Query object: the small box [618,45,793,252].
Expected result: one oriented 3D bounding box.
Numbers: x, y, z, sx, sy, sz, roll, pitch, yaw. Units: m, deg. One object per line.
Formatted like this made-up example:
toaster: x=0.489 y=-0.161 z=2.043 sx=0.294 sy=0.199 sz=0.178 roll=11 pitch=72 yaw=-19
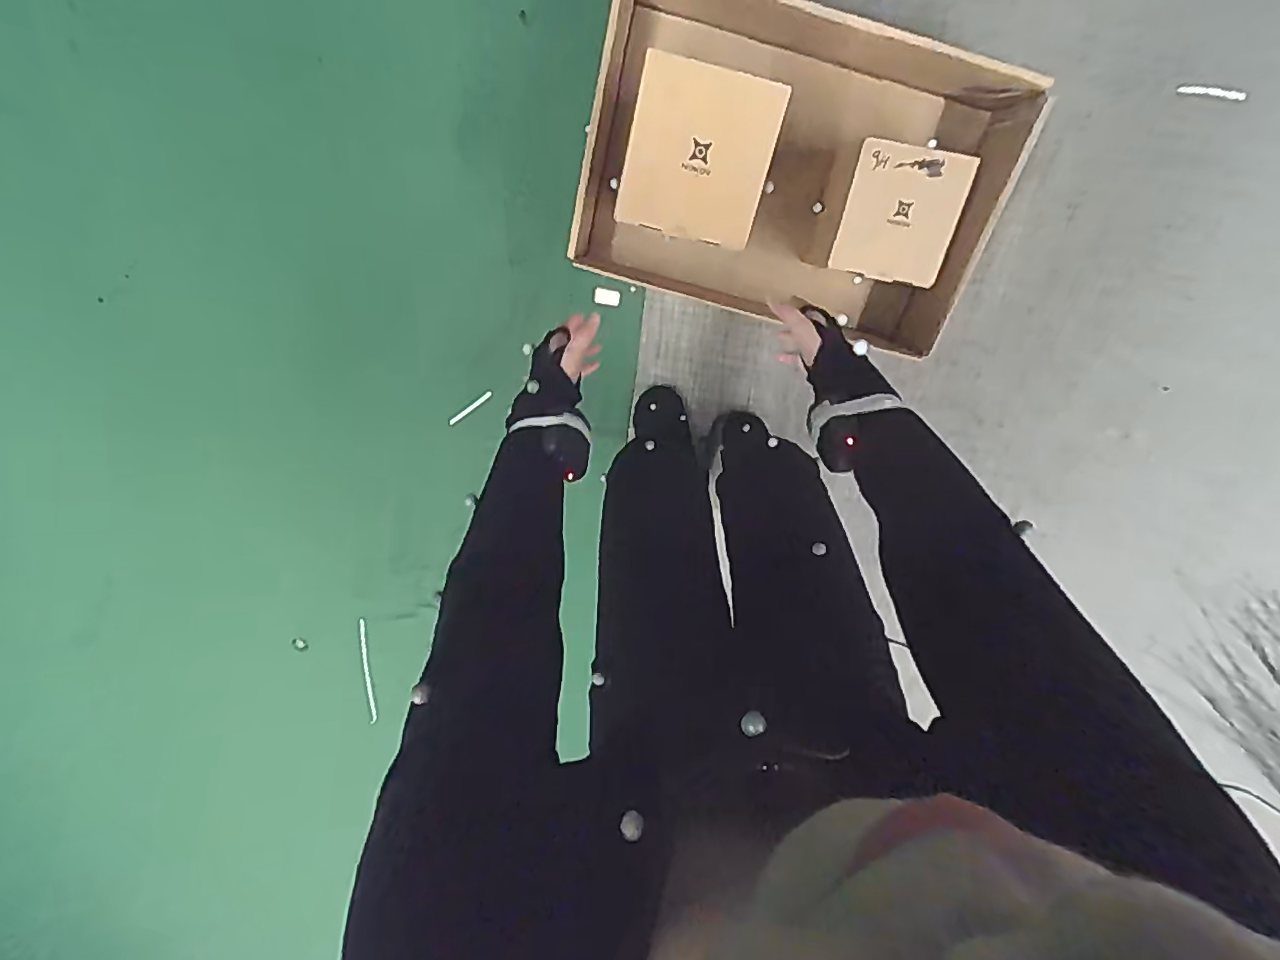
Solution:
small box: x=0.072 y=-0.409 z=0.693 sx=0.168 sy=0.176 sz=0.179 roll=13 pitch=116 yaw=-4
